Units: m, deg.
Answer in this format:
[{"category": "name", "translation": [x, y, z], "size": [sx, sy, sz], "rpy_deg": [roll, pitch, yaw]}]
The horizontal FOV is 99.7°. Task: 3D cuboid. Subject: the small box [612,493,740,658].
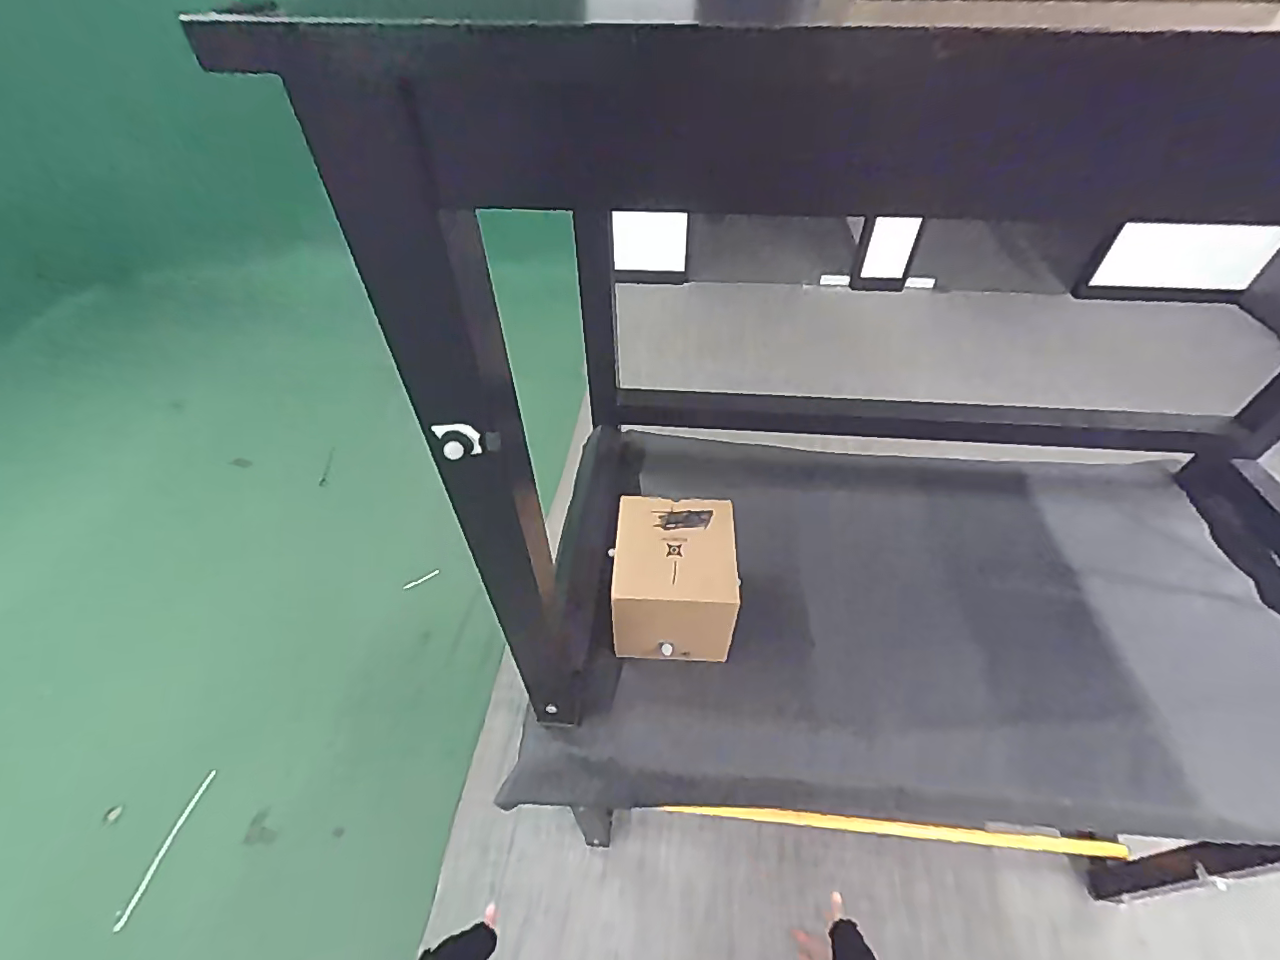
[{"category": "small box", "translation": [0.050, 0.139, 0.796], "size": [0.168, 0.176, 0.179], "rpy_deg": [1, 46, 3]}]
